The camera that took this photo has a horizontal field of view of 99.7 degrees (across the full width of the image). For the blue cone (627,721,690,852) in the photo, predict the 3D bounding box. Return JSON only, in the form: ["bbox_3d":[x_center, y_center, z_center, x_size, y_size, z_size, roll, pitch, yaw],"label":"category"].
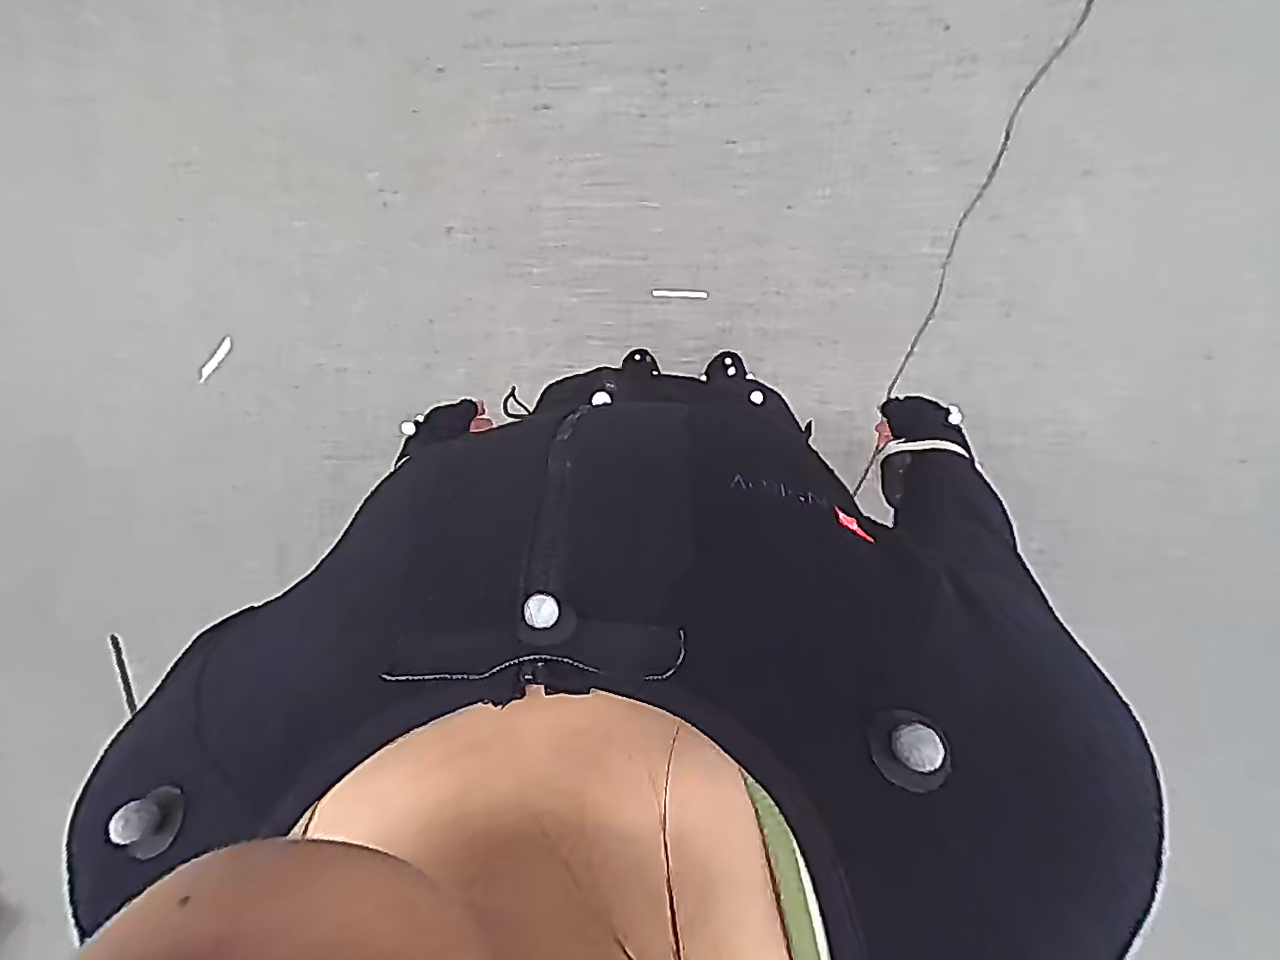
[{"bbox_3d":[0.038,0.872,1.525,0.192,0.380,0.193,-2,103,7],"label":"blue cone"}]
